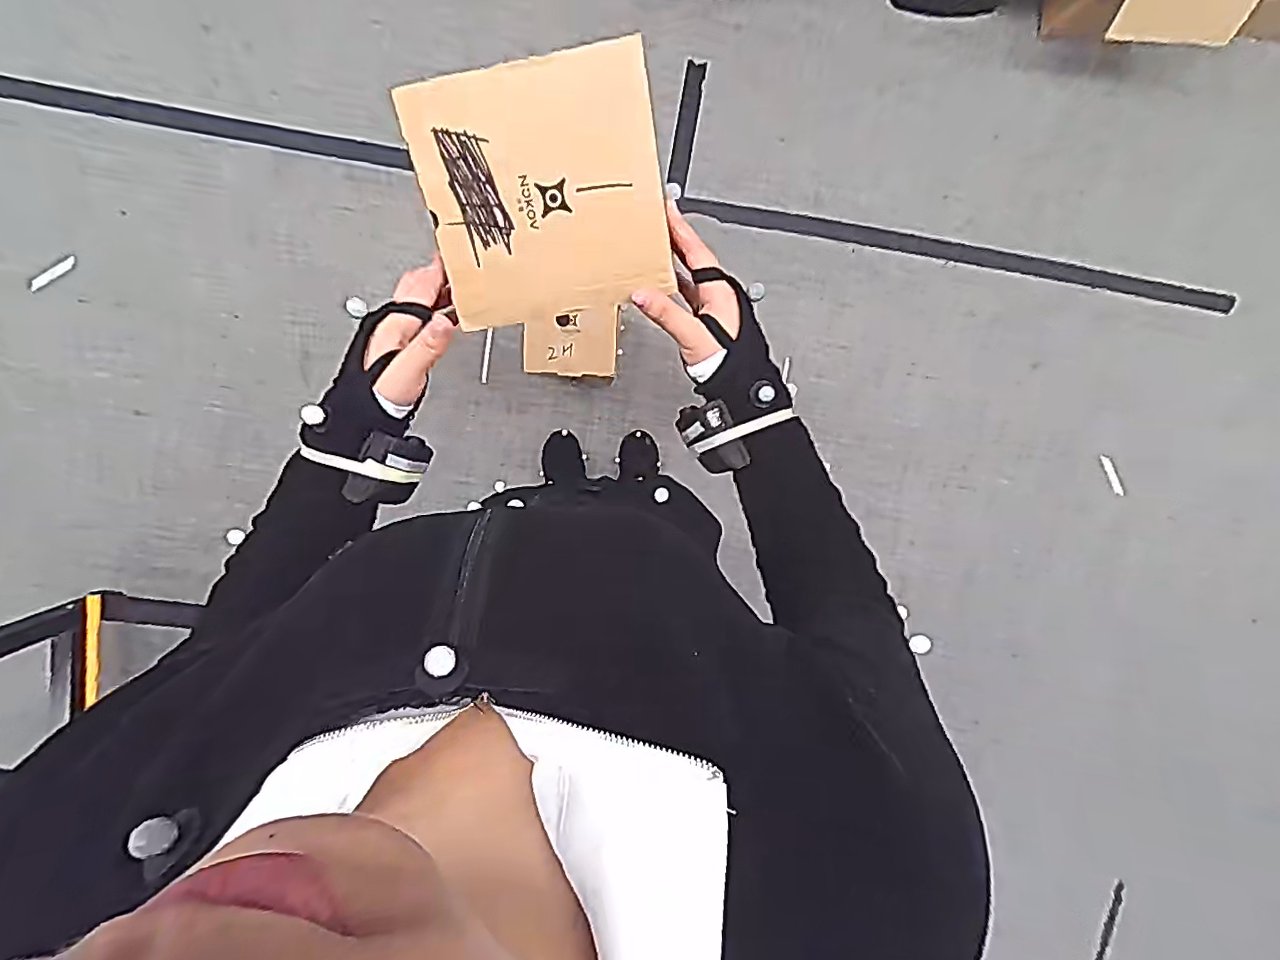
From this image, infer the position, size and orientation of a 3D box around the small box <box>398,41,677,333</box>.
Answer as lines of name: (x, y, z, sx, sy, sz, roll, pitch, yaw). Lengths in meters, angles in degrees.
small box: (-0.066, -0.232, 0.463, 0.179, 0.176, 0.168, -9, 114, 5)

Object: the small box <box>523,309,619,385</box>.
small box: (-0.126, -0.278, 1.037, 0.168, 0.176, 0.179, 2, 98, -2)
